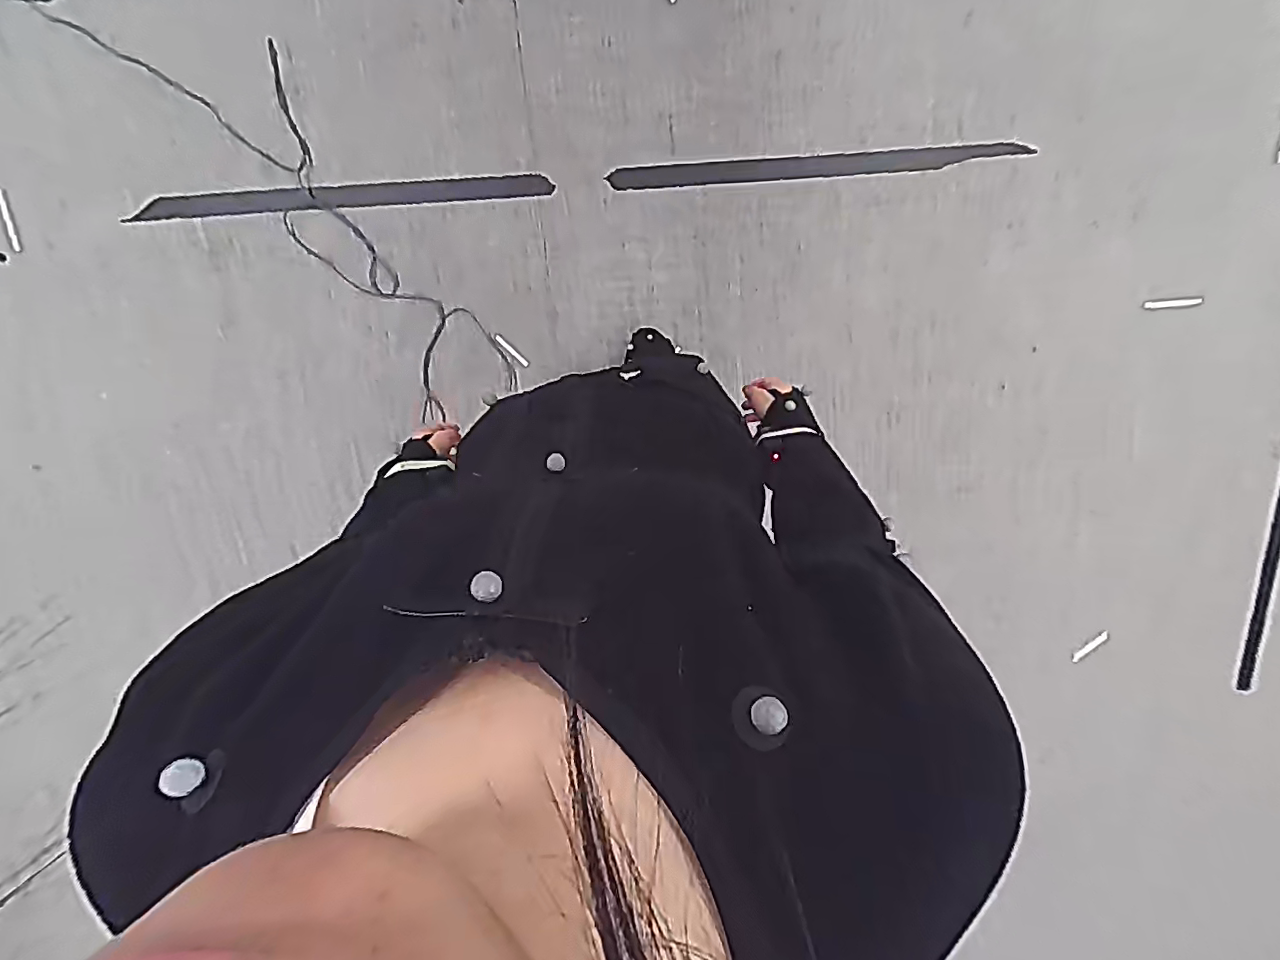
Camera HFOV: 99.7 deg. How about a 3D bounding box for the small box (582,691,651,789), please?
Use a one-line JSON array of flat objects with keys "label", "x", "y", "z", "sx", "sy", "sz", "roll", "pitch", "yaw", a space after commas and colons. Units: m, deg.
[{"label": "small box", "x": -0.066, "y": 0.740, "z": 1.548, "sx": 0.168, "sy": 0.176, "sz": 0.179, "roll": -11, "pitch": 104, "yaw": -1}]
